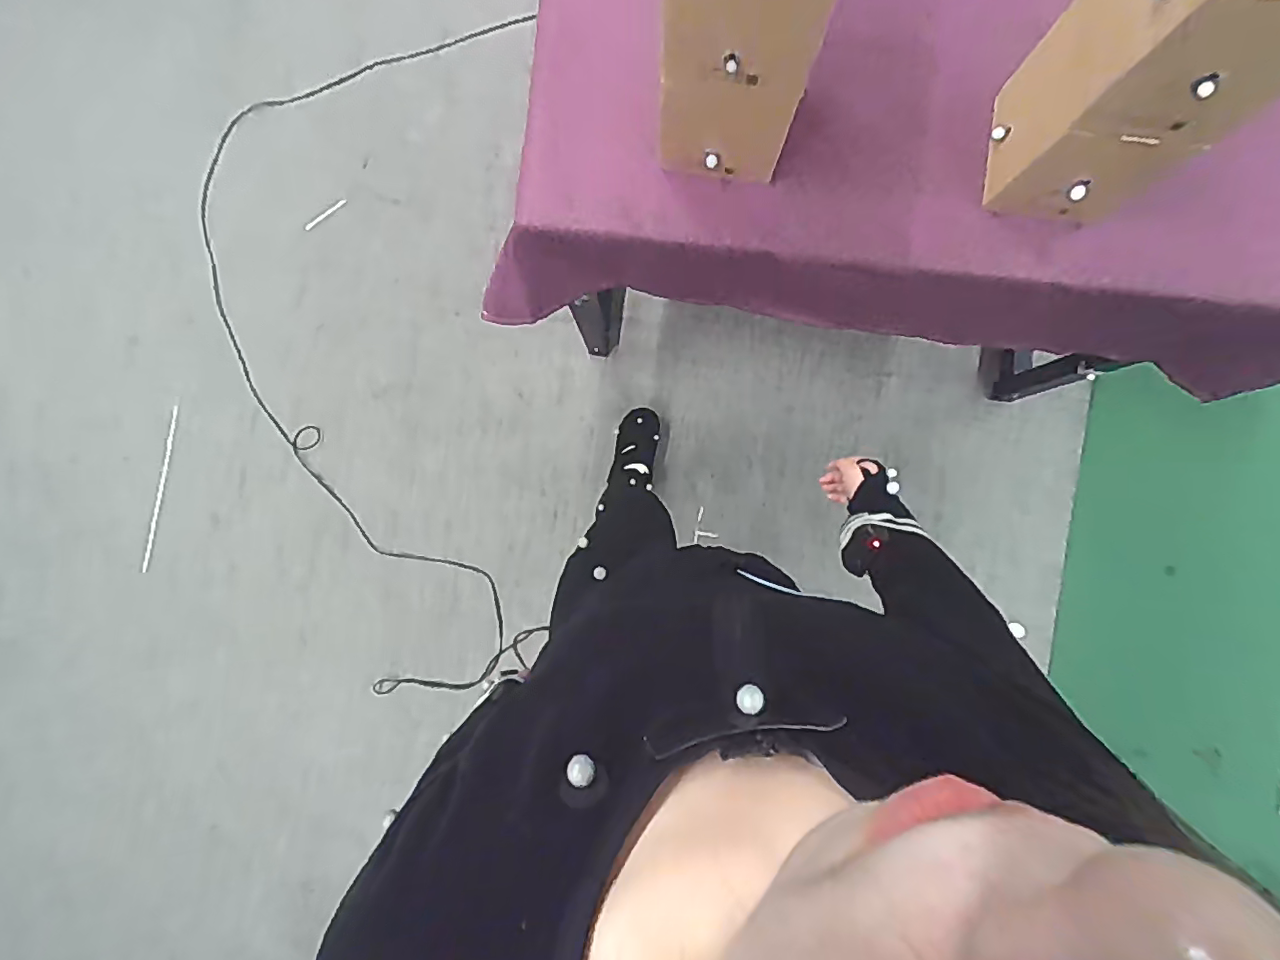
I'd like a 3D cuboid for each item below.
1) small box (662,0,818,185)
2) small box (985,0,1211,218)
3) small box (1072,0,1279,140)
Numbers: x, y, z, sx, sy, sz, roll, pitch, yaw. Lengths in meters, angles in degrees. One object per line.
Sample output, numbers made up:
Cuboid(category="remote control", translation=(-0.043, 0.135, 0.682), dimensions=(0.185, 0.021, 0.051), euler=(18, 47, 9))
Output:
Cuboid(category="small box", translation=(0.122, -0.532, 0.714), dimensions=(0.168, 0.176, 0.179), euler=(10, 88, 2))
Cuboid(category="small box", translation=(0.584, -0.469, 0.701), dimensions=(0.168, 0.176, 0.179), euler=(8, 88, 1))
Cuboid(category="small box", translation=(0.576, -0.477, 0.536), dimensions=(0.168, 0.176, 0.179), euler=(8, 87, 1))
